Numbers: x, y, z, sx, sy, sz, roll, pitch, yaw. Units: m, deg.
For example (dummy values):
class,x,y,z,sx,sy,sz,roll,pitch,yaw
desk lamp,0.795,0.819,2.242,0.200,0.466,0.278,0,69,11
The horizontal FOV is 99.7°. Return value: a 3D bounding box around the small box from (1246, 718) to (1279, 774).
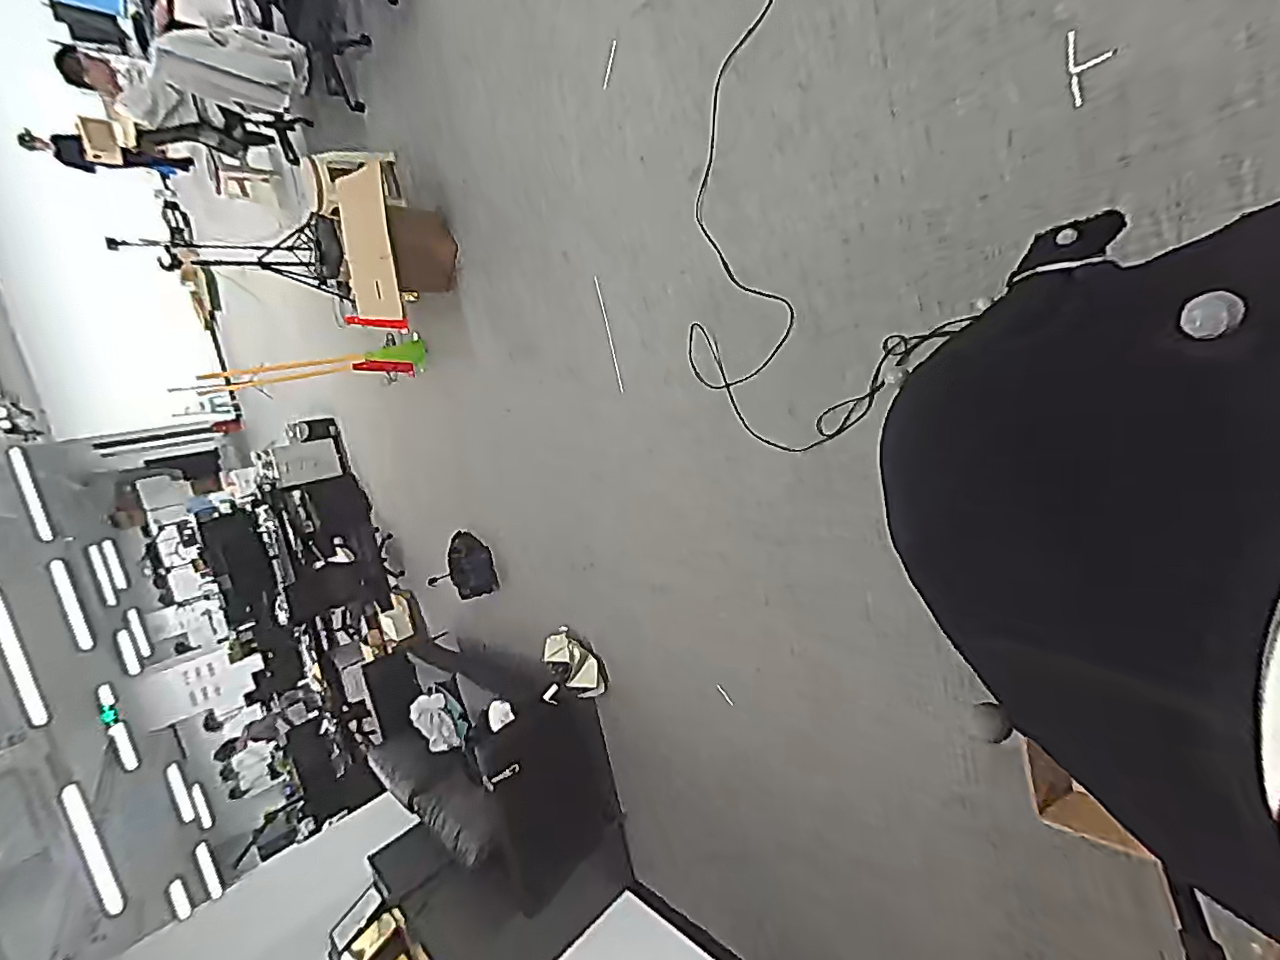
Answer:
class,x,y,z,sx,sy,sz,roll,pitch,yaw
small box,1.217,0.568,0.970,0.168,0.176,0.179,-4,102,49
